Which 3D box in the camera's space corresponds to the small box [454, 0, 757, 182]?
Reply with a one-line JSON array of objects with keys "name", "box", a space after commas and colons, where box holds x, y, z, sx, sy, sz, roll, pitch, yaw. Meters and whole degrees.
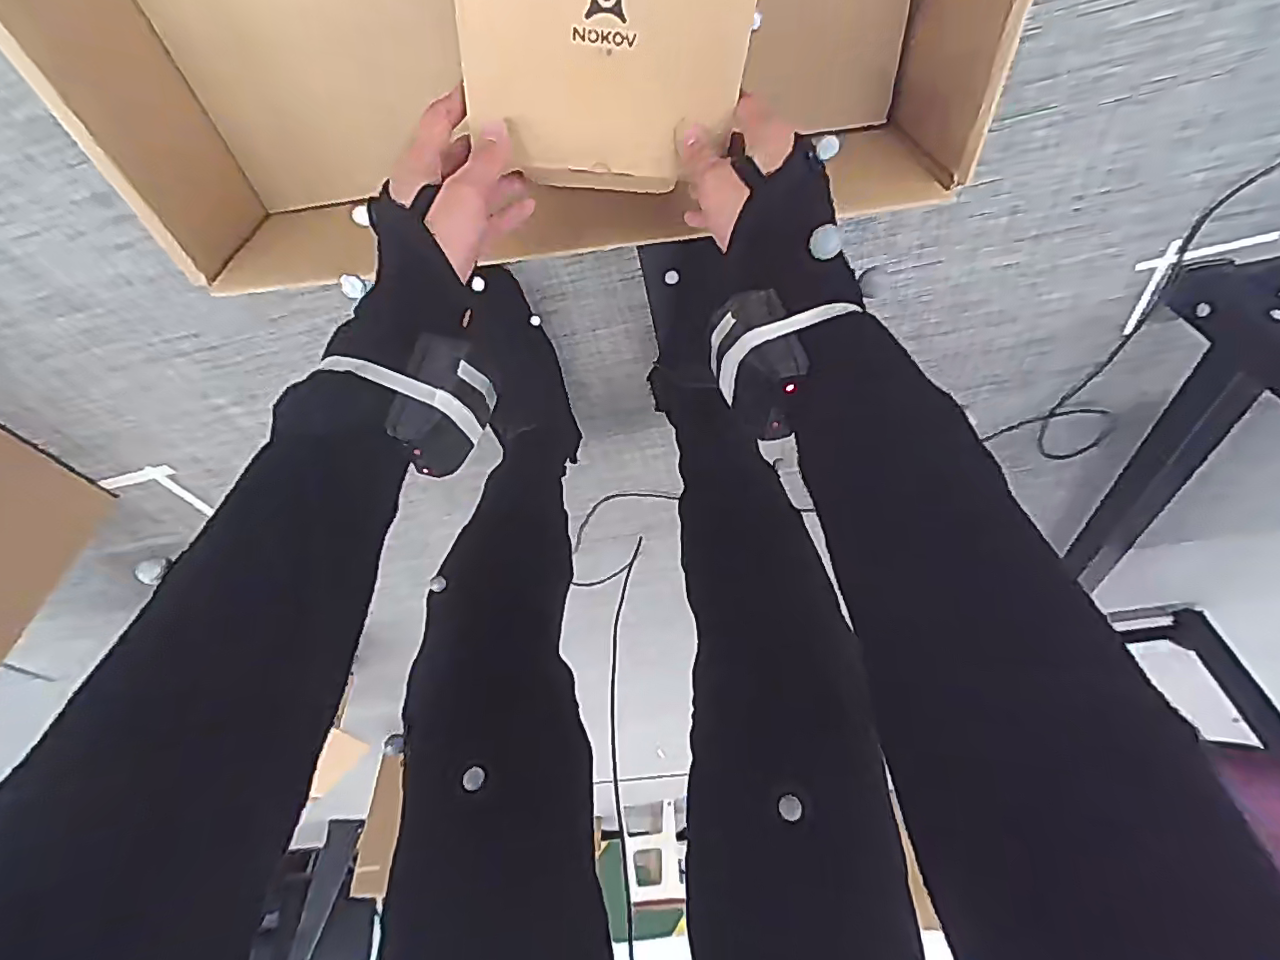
[{"name": "small box", "box": [-0.019, -0.320, 0.341, 0.168, 0.176, 0.179, 3, 138, -6]}]
